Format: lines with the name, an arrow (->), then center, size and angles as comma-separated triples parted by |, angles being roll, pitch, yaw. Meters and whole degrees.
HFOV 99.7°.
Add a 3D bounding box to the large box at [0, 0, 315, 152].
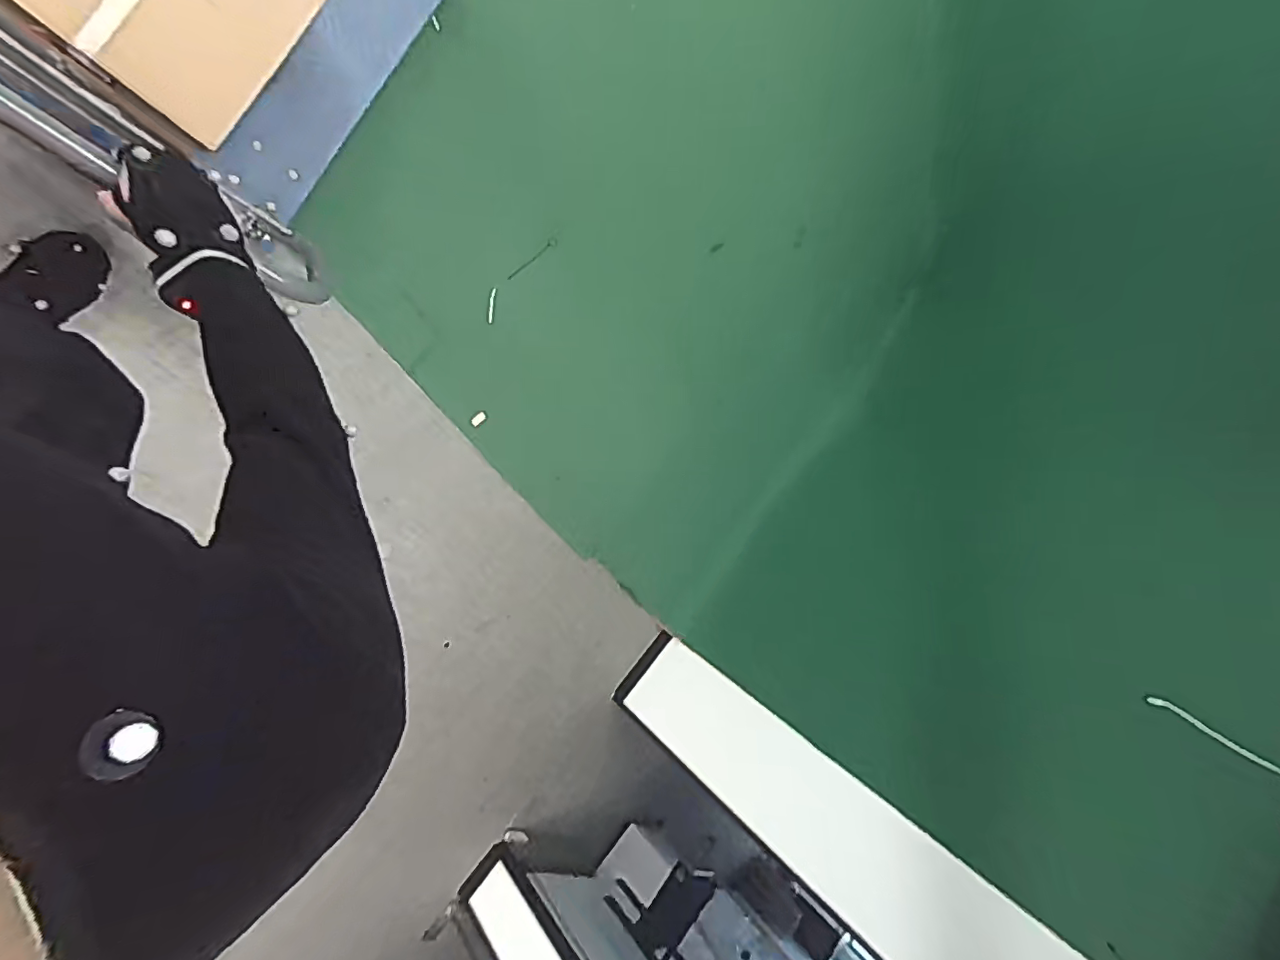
large box -> -0.723, -0.782, 0.809 | 0.320, 0.320, 0.408 | 36, 84, -49
